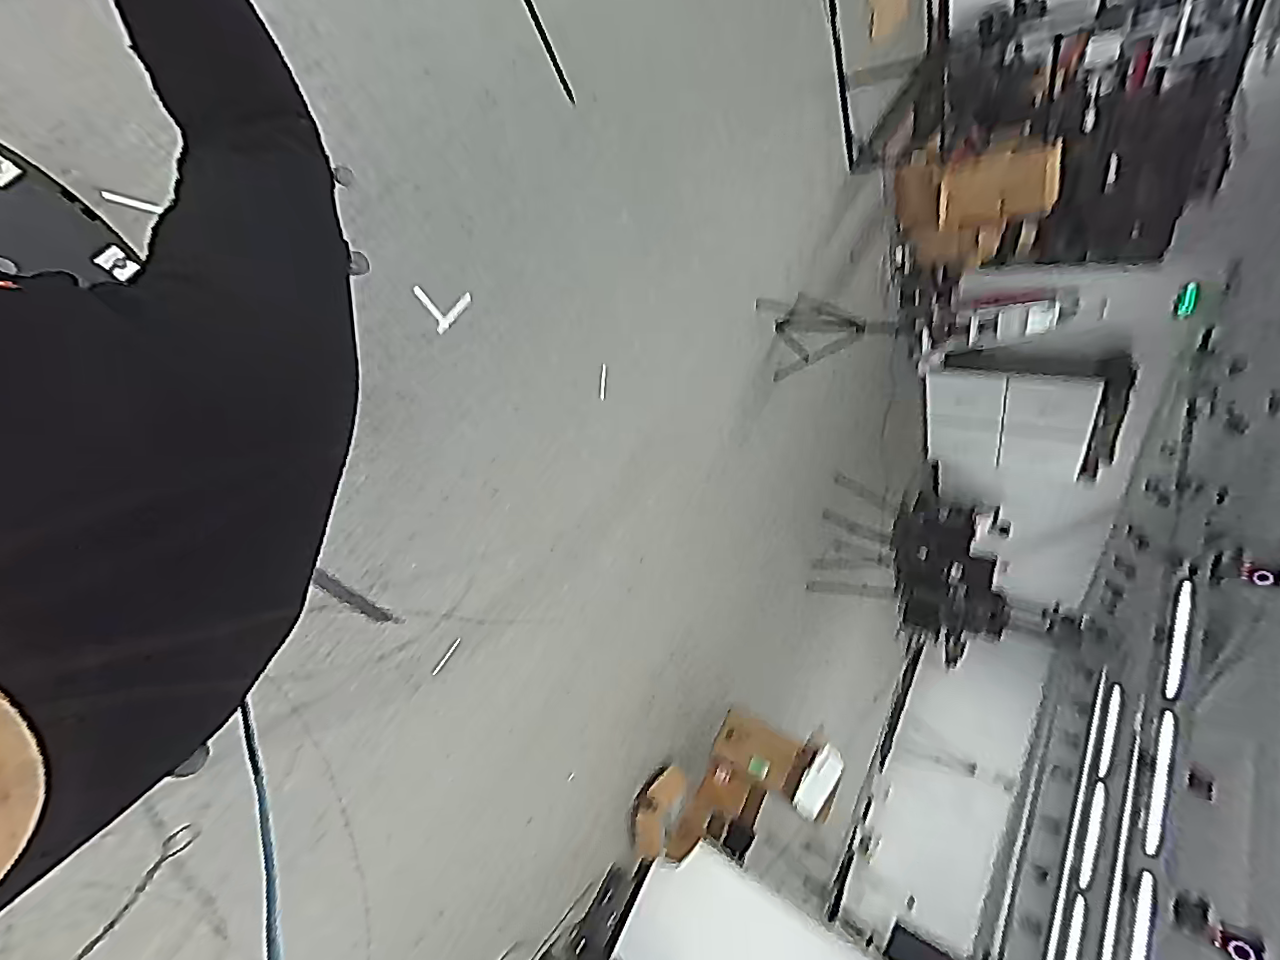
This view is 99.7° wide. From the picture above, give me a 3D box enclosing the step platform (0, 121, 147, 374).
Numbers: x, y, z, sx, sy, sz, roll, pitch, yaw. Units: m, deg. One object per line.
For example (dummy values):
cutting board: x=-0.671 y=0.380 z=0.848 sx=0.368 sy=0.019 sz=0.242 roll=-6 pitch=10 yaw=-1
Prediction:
step platform: x=-1.271 y=-0.317 z=0.950 sx=0.684 sy=0.204 sz=0.286 roll=-60 pitch=140 yaw=-22
